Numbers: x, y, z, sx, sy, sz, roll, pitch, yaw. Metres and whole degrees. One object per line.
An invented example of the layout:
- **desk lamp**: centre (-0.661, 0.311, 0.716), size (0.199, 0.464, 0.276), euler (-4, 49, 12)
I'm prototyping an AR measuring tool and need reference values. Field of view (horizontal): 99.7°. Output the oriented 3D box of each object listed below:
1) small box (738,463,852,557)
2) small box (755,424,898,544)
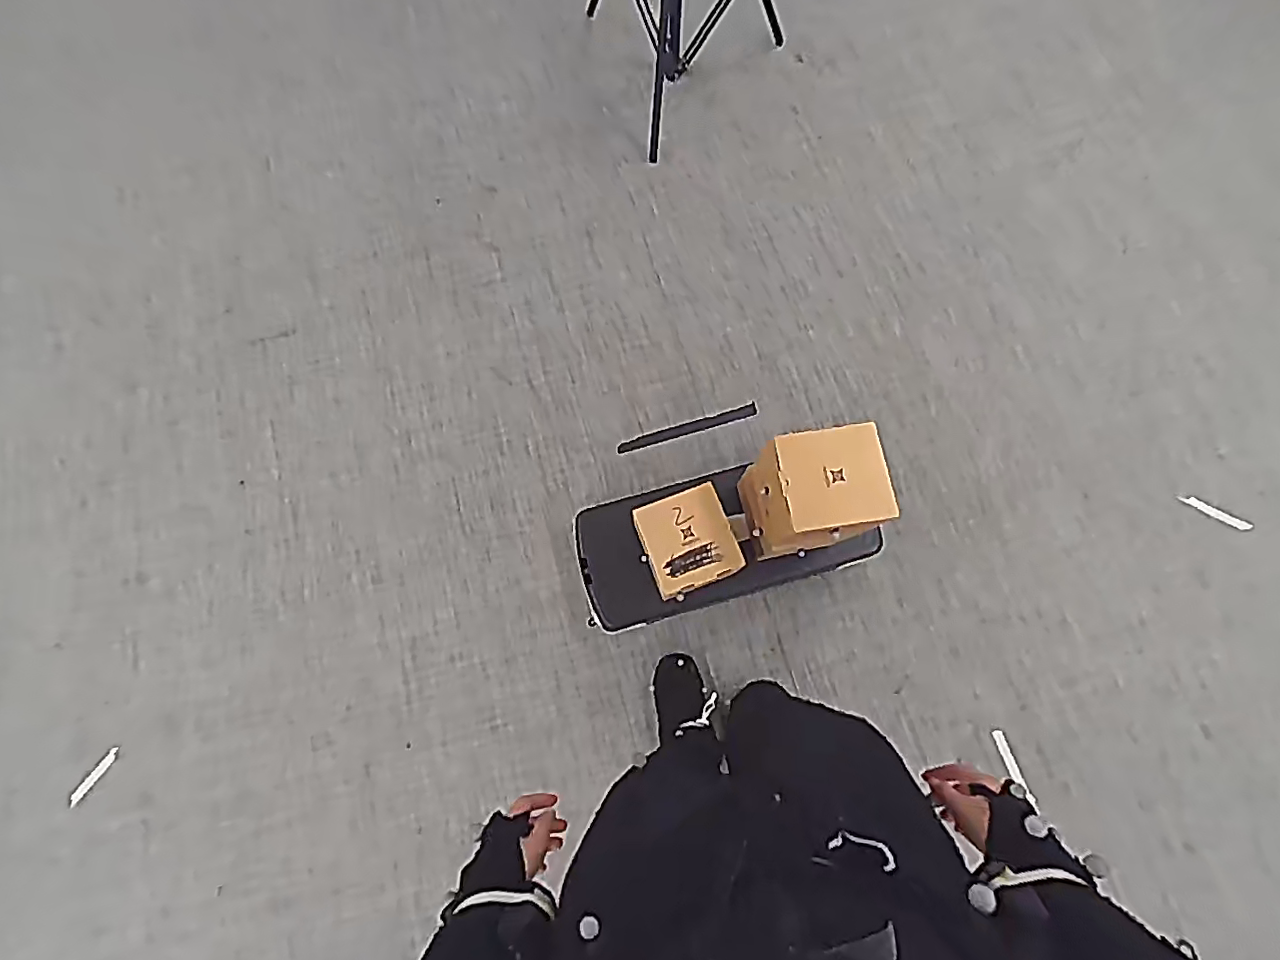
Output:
- **small box**: centre (0.309, 0.057, 1.112), size (0.168, 0.176, 0.179), euler (-11, 75, -2)
- **small box**: centre (0.317, 0.013, 0.955), size (0.179, 0.176, 0.168), euler (-9, 76, 0)
